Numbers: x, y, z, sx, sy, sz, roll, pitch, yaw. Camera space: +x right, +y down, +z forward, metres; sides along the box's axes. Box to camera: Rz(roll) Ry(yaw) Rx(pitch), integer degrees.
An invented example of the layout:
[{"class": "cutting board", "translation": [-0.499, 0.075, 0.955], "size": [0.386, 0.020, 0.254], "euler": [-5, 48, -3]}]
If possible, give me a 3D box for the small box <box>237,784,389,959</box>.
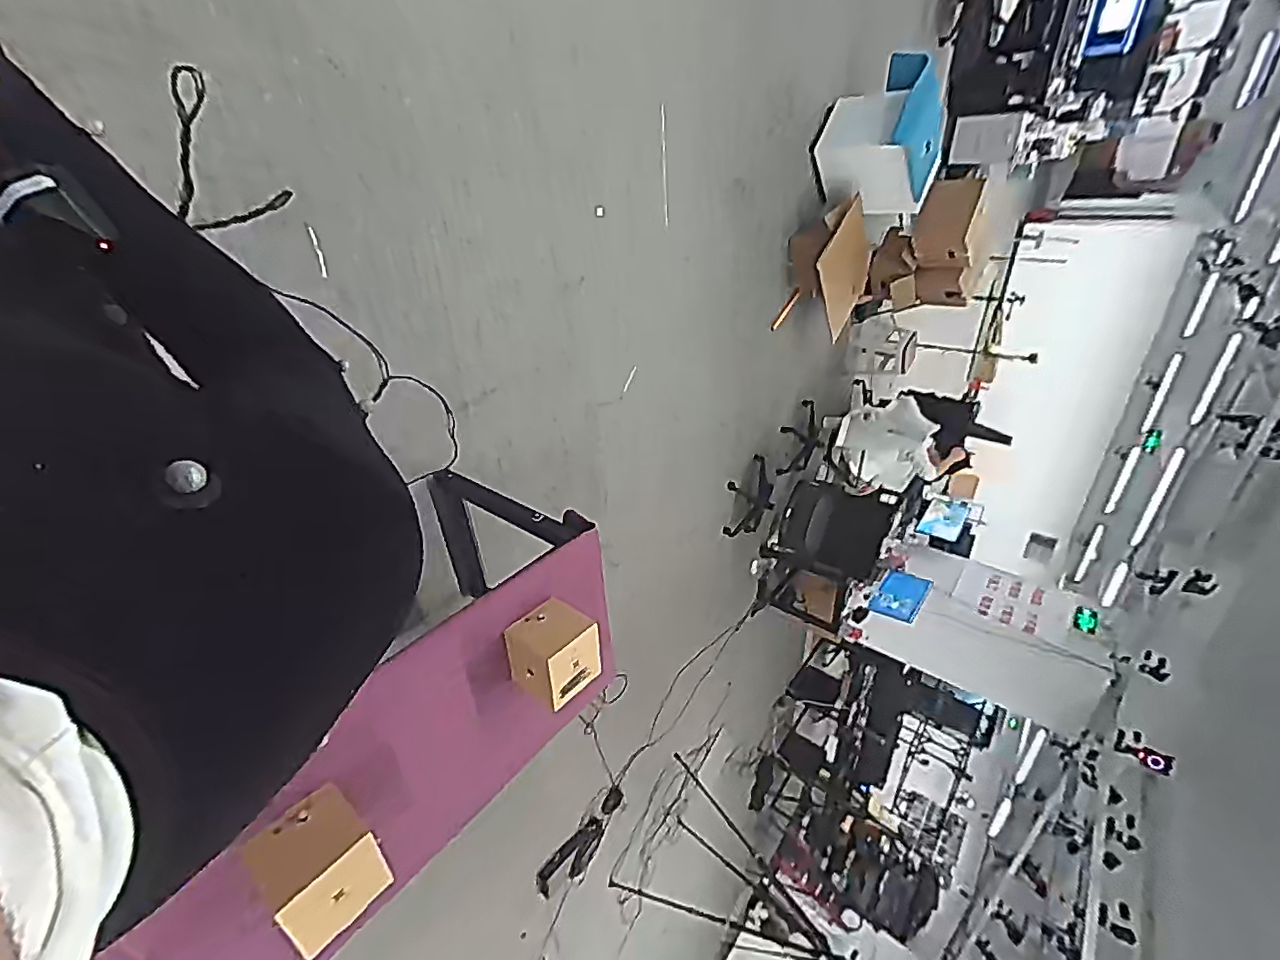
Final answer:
[{"class": "small box", "translation": [-0.606, 0.716, 1.008], "size": [0.168, 0.176, 0.179], "euler": [-33, 132, -43]}]
